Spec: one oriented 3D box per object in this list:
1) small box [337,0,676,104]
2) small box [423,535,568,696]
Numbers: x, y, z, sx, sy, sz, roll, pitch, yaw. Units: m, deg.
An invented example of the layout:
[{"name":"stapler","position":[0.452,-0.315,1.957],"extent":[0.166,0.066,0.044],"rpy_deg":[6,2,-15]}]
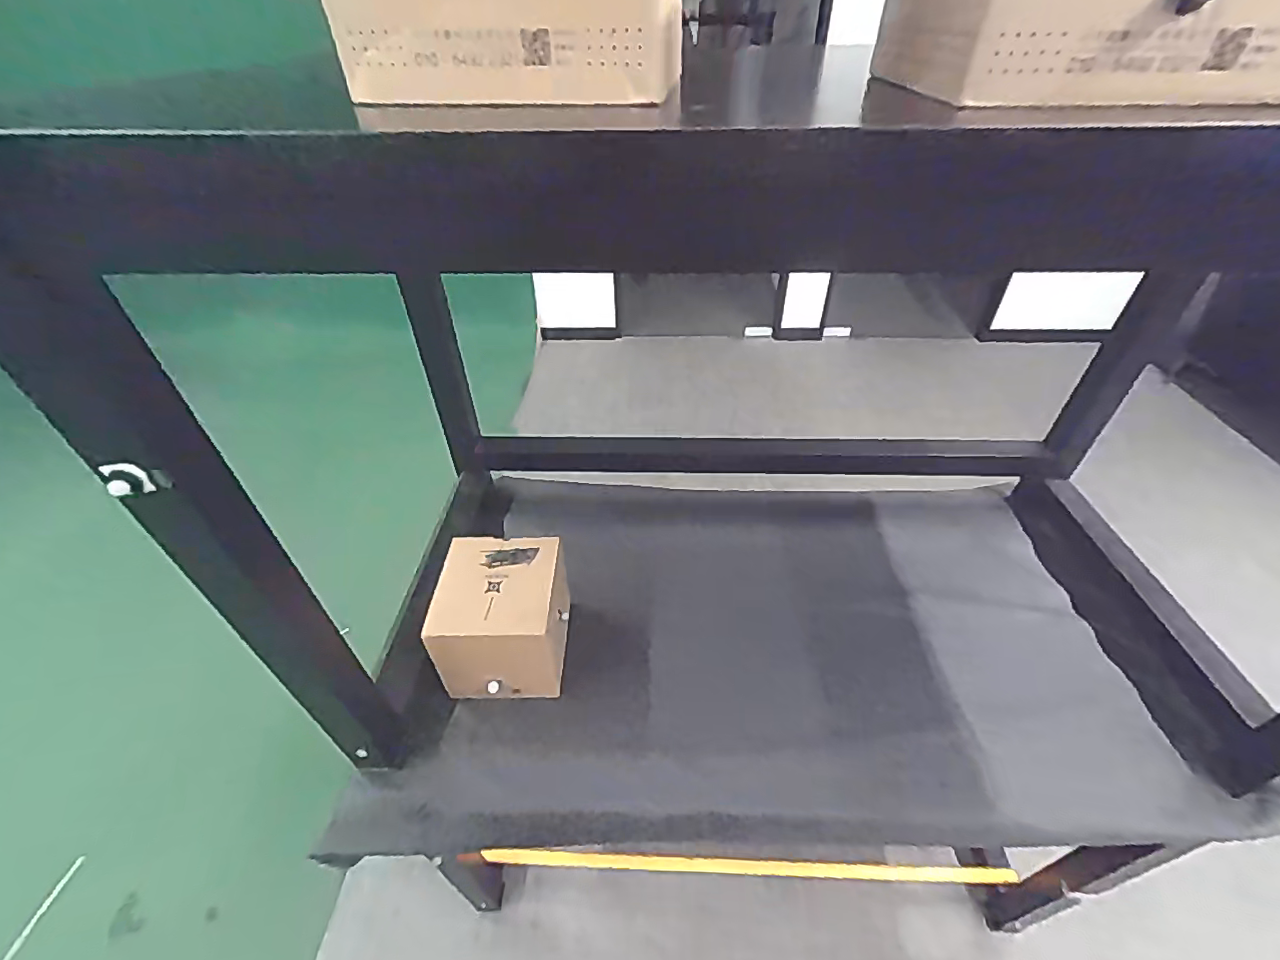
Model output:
[{"name":"small box","position":[-0.066,-0.315,0.296],"extent":[0.168,0.176,0.179],"rpy_deg":[3,40,5]},{"name":"small box","position":[-0.202,0.201,0.815],"extent":[0.168,0.176,0.179],"rpy_deg":[-1,41,0]}]
